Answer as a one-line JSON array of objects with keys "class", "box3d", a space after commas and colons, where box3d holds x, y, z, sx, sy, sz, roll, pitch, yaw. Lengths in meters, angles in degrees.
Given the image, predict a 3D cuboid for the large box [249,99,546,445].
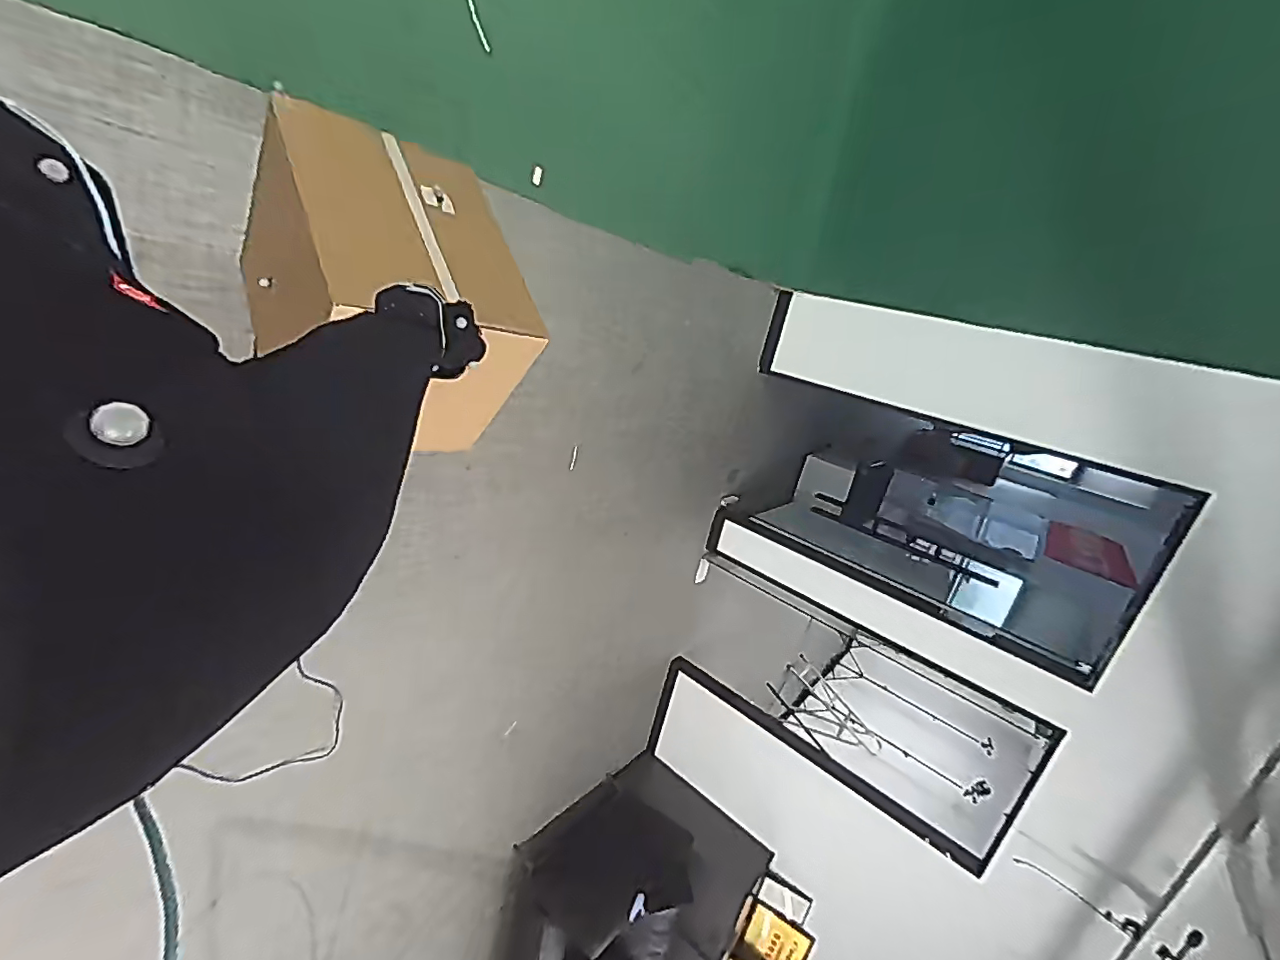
[{"class": "large box", "box3d": [-0.420, -0.307, 0.903, 0.320, 0.408, 0.320, -4, 152, -46]}]
